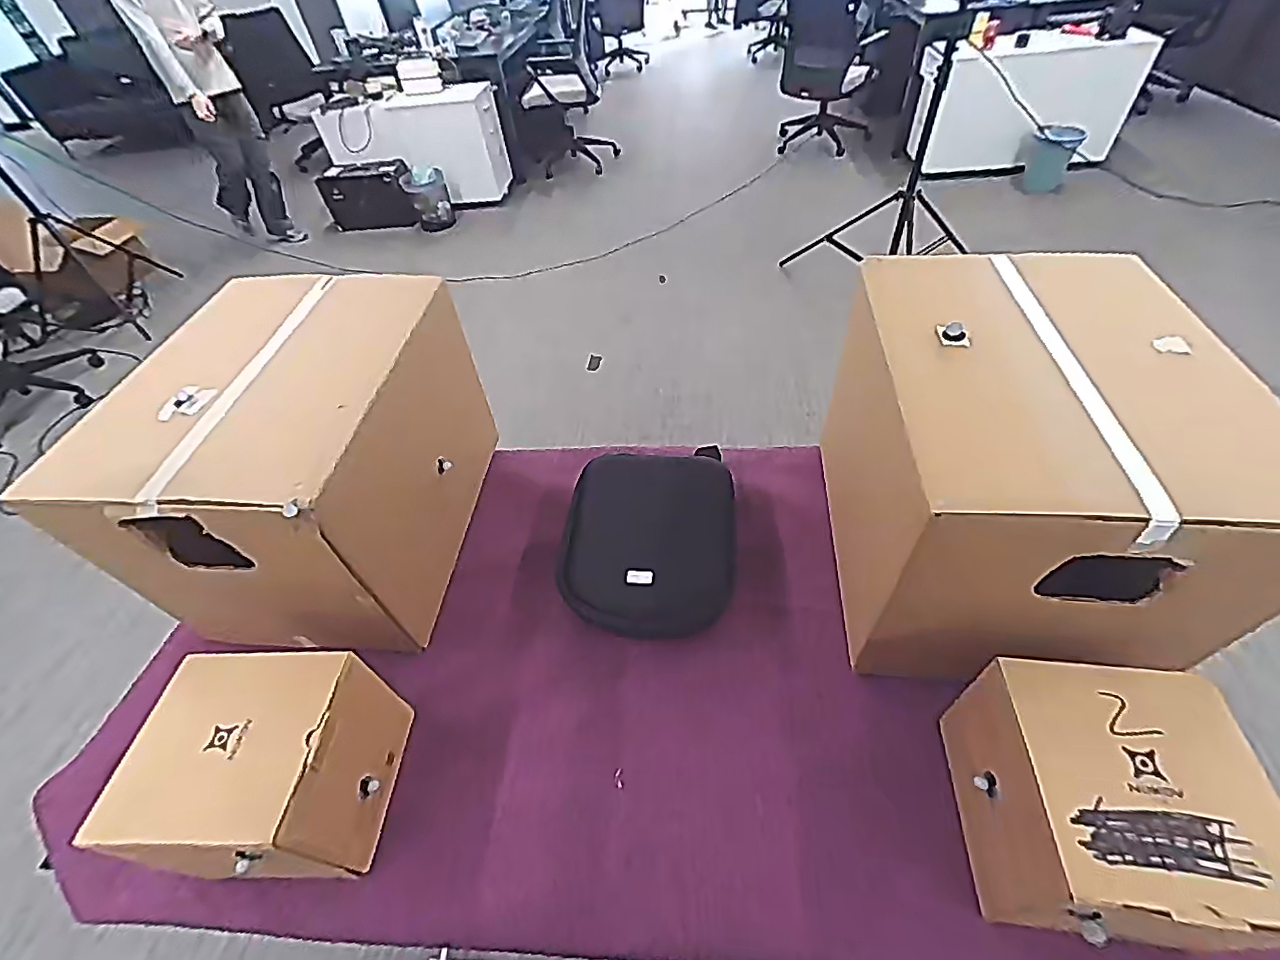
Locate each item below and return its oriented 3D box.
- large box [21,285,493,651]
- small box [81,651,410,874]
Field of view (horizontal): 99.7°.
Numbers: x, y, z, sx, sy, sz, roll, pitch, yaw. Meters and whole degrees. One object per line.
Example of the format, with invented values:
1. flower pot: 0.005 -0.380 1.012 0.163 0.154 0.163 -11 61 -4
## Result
1. large box: -0.424 -0.020 0.742 0.320 0.320 0.408 0 50 5
2. small box: -0.370 0.290 0.552 0.179 0.176 0.168 -3 47 3
